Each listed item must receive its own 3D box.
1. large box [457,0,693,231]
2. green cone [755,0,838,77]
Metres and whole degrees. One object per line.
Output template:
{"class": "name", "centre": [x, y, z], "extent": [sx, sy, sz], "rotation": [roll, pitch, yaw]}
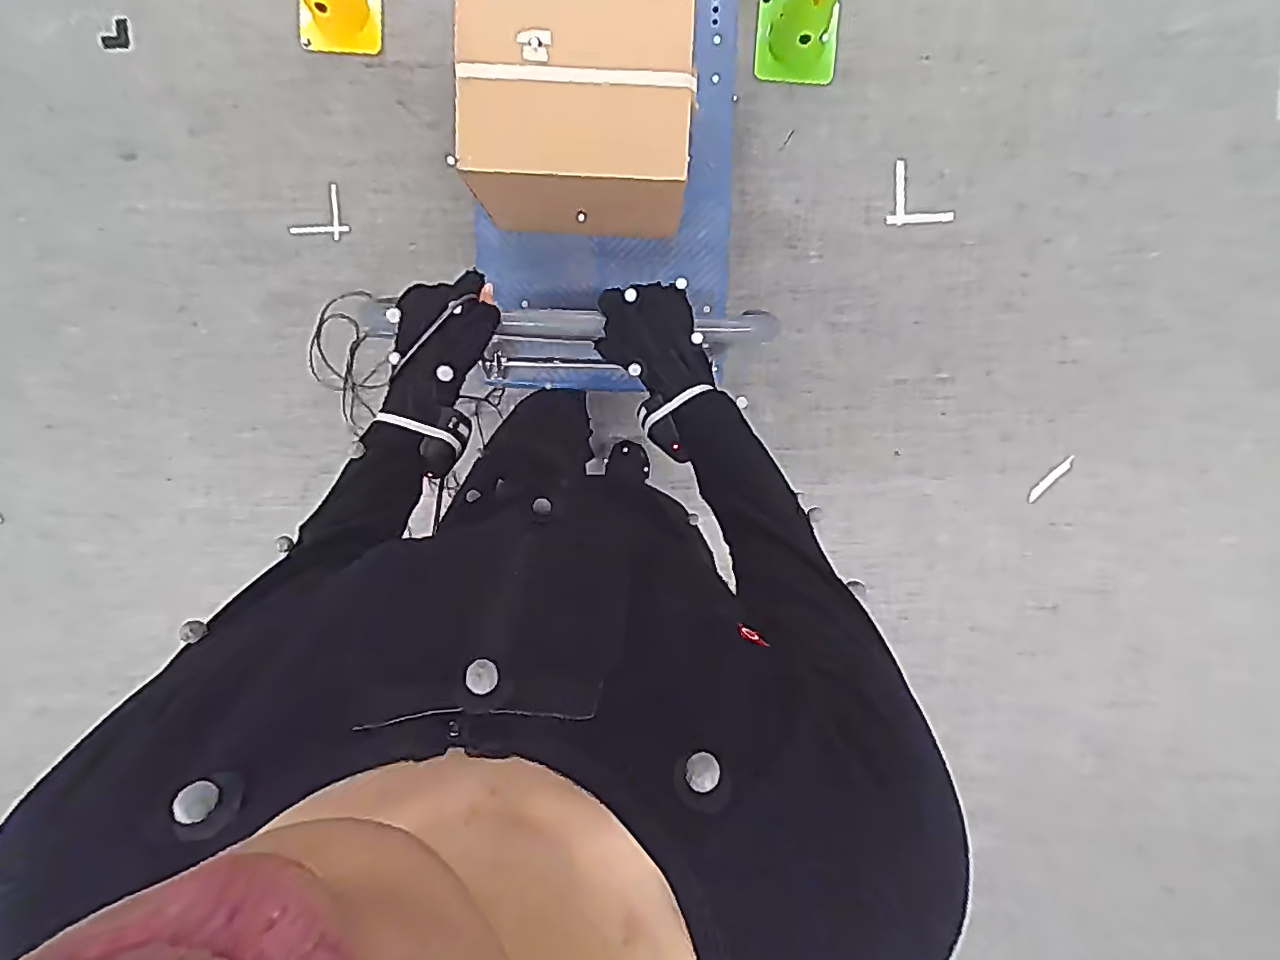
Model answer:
{"class": "large box", "centre": [-0.110, -0.703, 1.070], "extent": [0.408, 0.320, 0.320], "rotation": [3, 96, 0]}
{"class": "green cone", "centre": [0.395, -1.098, 1.176], "extent": [0.202, 0.368, 0.200], "rotation": [3, 96, -2]}
